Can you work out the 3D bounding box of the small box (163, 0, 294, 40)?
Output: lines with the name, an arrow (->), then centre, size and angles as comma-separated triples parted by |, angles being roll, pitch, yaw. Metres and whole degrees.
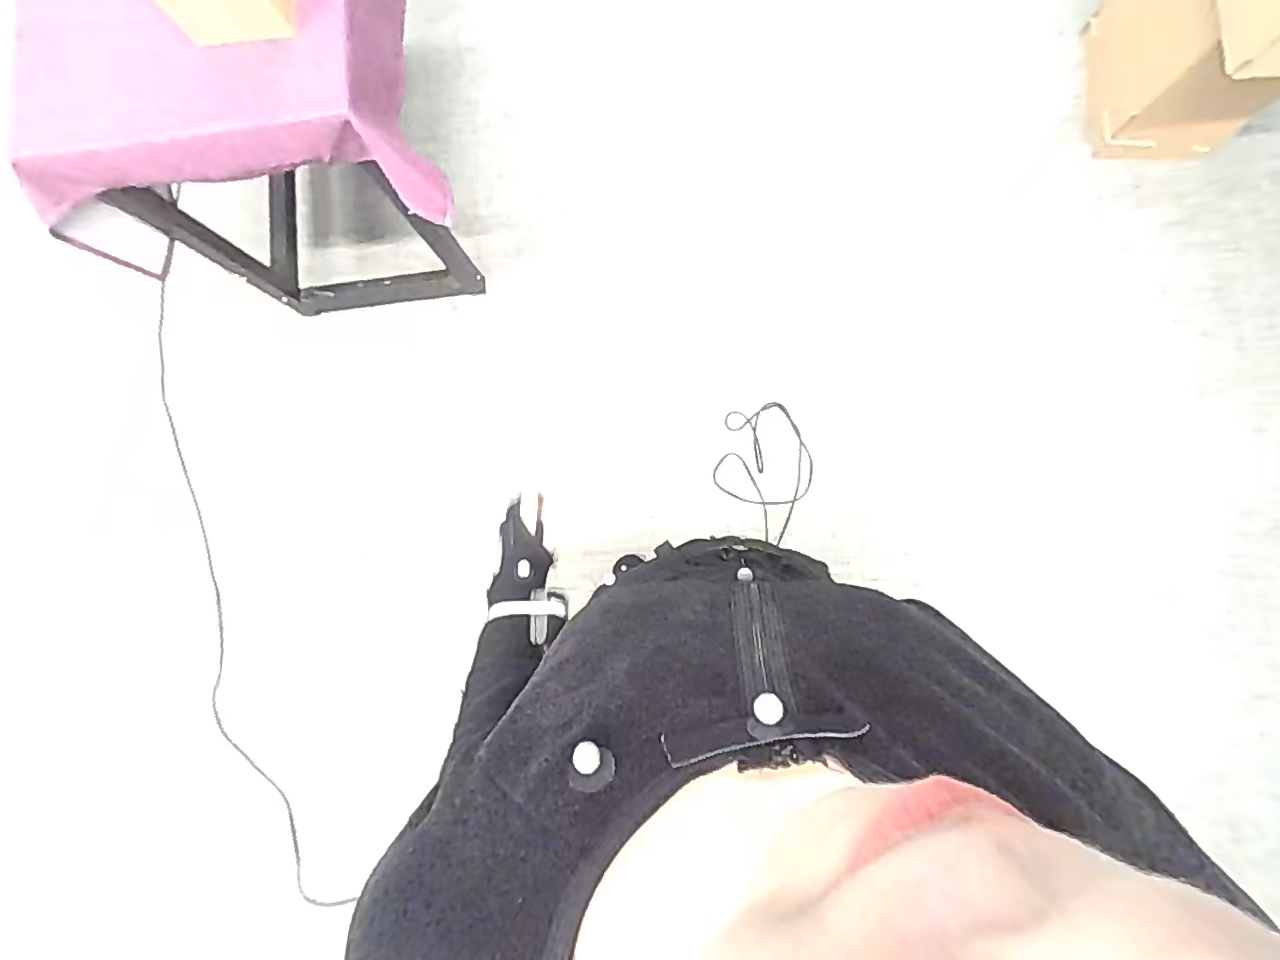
small box -> -0.669, -0.837, 0.843 | 0.179, 0.176, 0.168 | -3, 84, 4
